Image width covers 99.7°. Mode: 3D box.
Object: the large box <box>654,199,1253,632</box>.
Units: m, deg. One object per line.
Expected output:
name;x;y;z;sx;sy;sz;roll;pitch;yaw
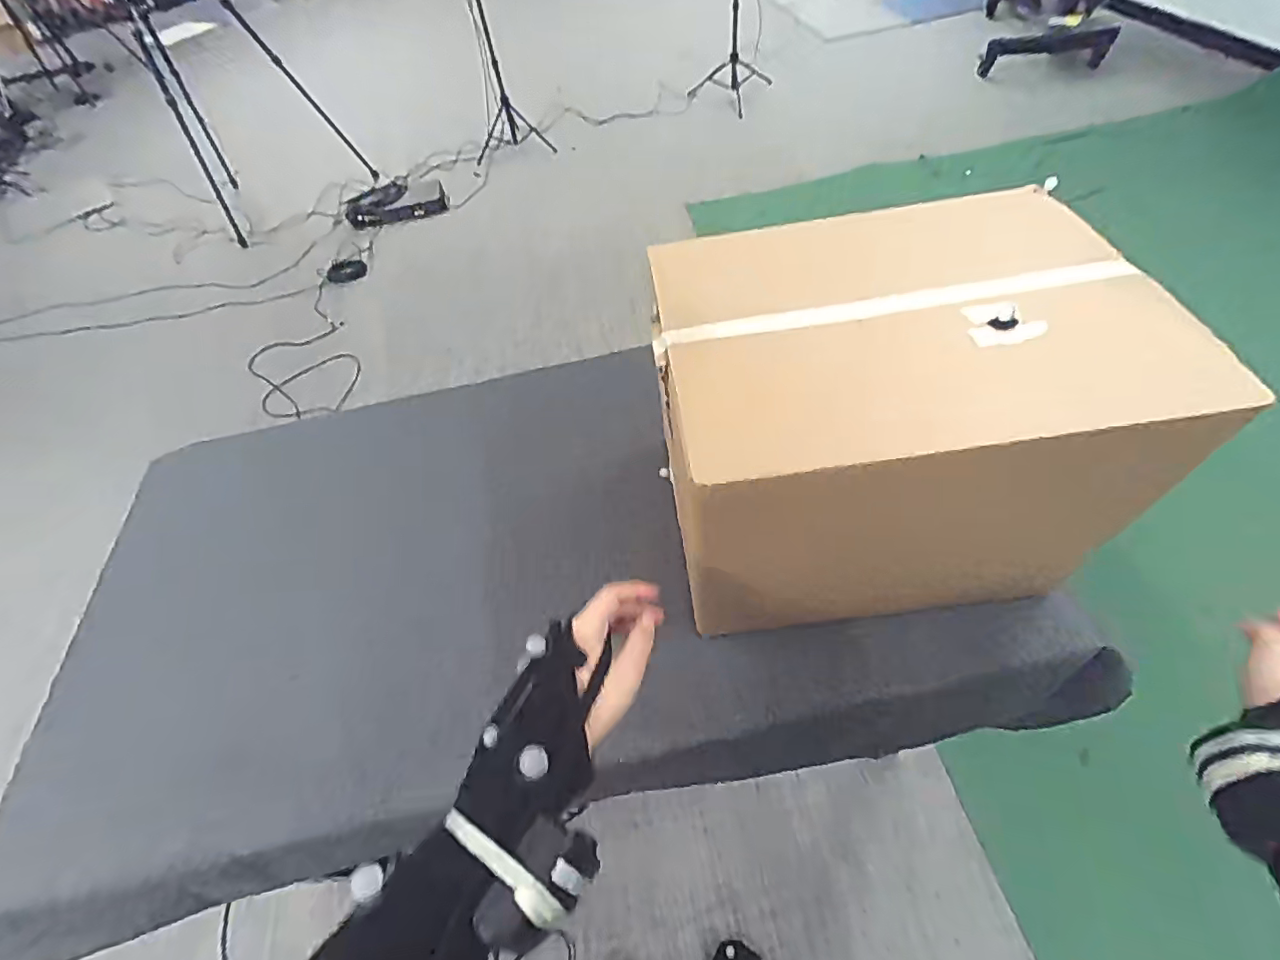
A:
large box;0.238;-0.057;0.592;0.408;0.320;0.320;-7;54;1
